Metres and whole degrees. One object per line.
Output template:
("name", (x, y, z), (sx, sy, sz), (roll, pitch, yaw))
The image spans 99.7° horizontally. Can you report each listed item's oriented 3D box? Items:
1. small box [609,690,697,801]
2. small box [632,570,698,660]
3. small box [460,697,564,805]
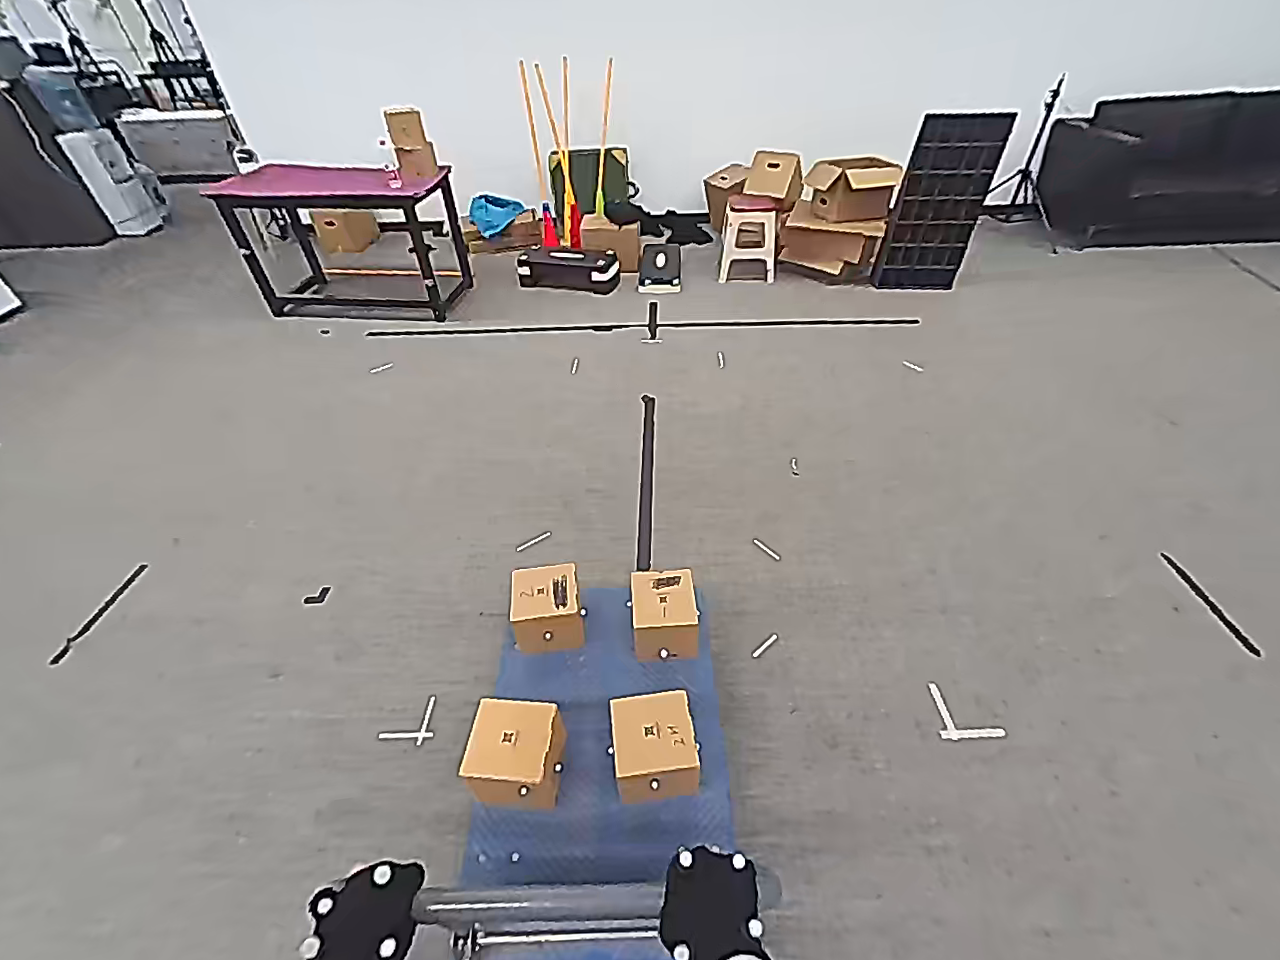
("small box", (0.028, 0.600, 1.217), (0.179, 0.176, 0.168), (-6, 42, -3))
("small box", (0.063, 0.368, 1.471), (0.168, 0.176, 0.179), (-3, 43, -1))
("small box", (-0.279, 0.611, 1.219), (0.179, 0.176, 0.168), (3, 42, 4))
